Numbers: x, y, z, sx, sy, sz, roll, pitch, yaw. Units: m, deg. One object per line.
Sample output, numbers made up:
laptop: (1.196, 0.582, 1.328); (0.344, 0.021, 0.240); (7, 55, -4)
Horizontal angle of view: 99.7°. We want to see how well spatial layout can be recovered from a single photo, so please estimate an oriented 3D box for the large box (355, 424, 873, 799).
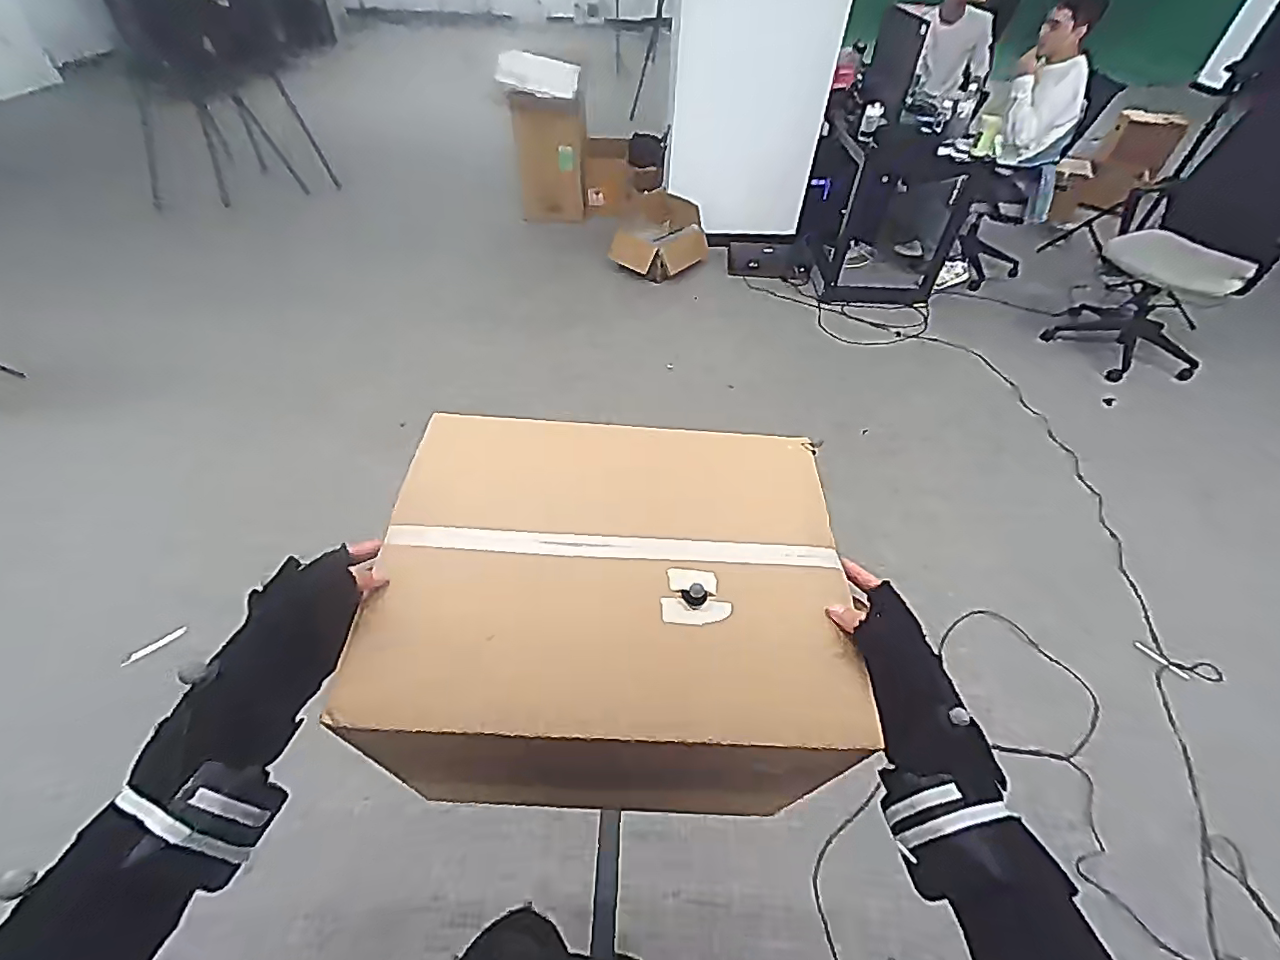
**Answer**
large box: (-0.027, 0.160, 0.615); (0.408, 0.320, 0.320); (4, 51, -3)
